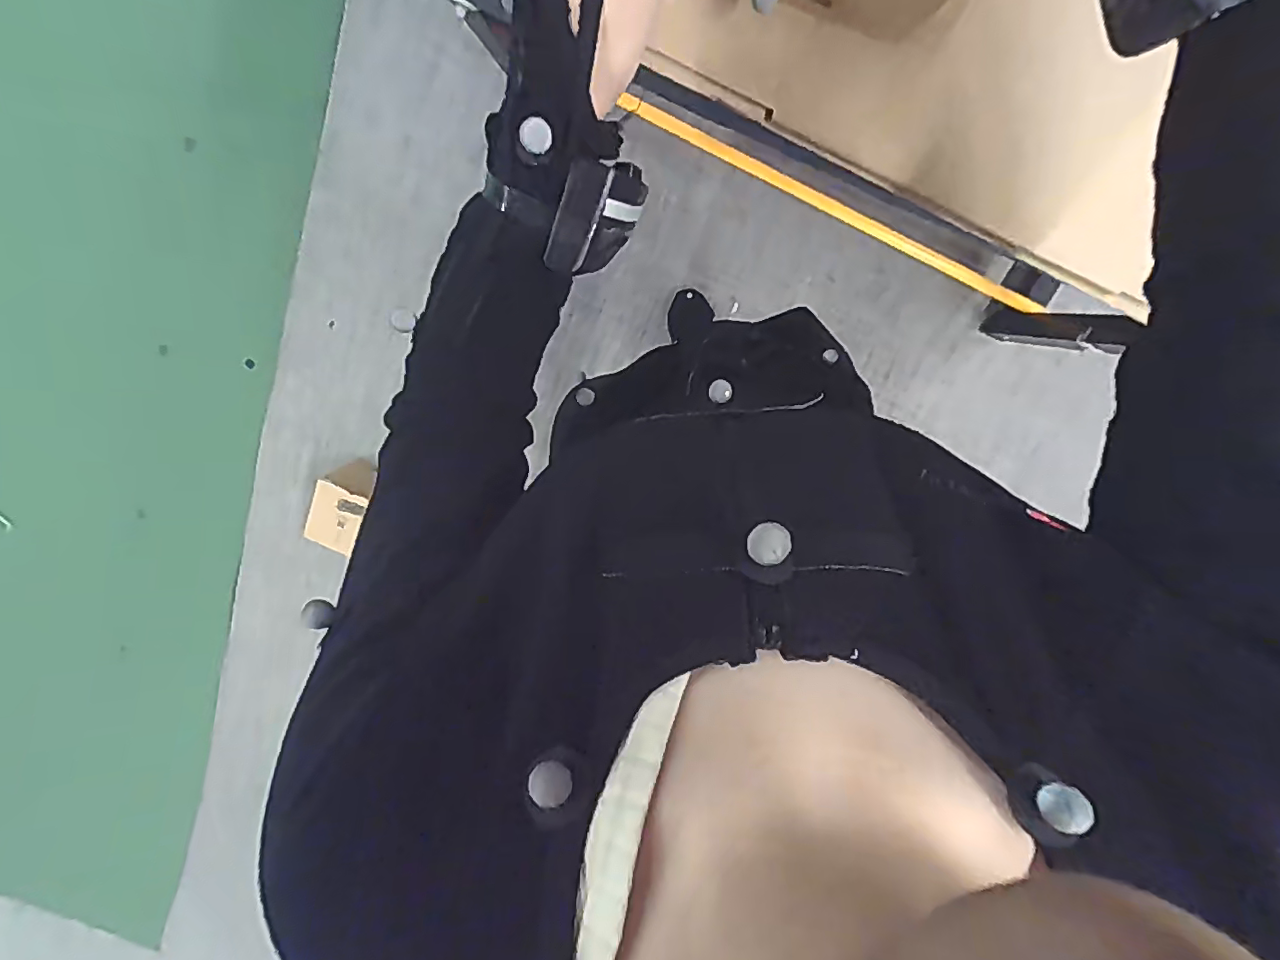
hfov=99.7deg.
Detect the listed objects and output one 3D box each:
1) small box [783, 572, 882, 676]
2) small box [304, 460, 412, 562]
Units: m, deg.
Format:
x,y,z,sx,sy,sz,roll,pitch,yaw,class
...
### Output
x,y,z,sx,sy,sz,roll,pitch,yaw,class
0.486,0.364,1.398,0.168,0.176,0.179,18,108,-2,small box
-0.711,0.071,1.382,0.168,0.176,0.179,26,109,-4,small box
